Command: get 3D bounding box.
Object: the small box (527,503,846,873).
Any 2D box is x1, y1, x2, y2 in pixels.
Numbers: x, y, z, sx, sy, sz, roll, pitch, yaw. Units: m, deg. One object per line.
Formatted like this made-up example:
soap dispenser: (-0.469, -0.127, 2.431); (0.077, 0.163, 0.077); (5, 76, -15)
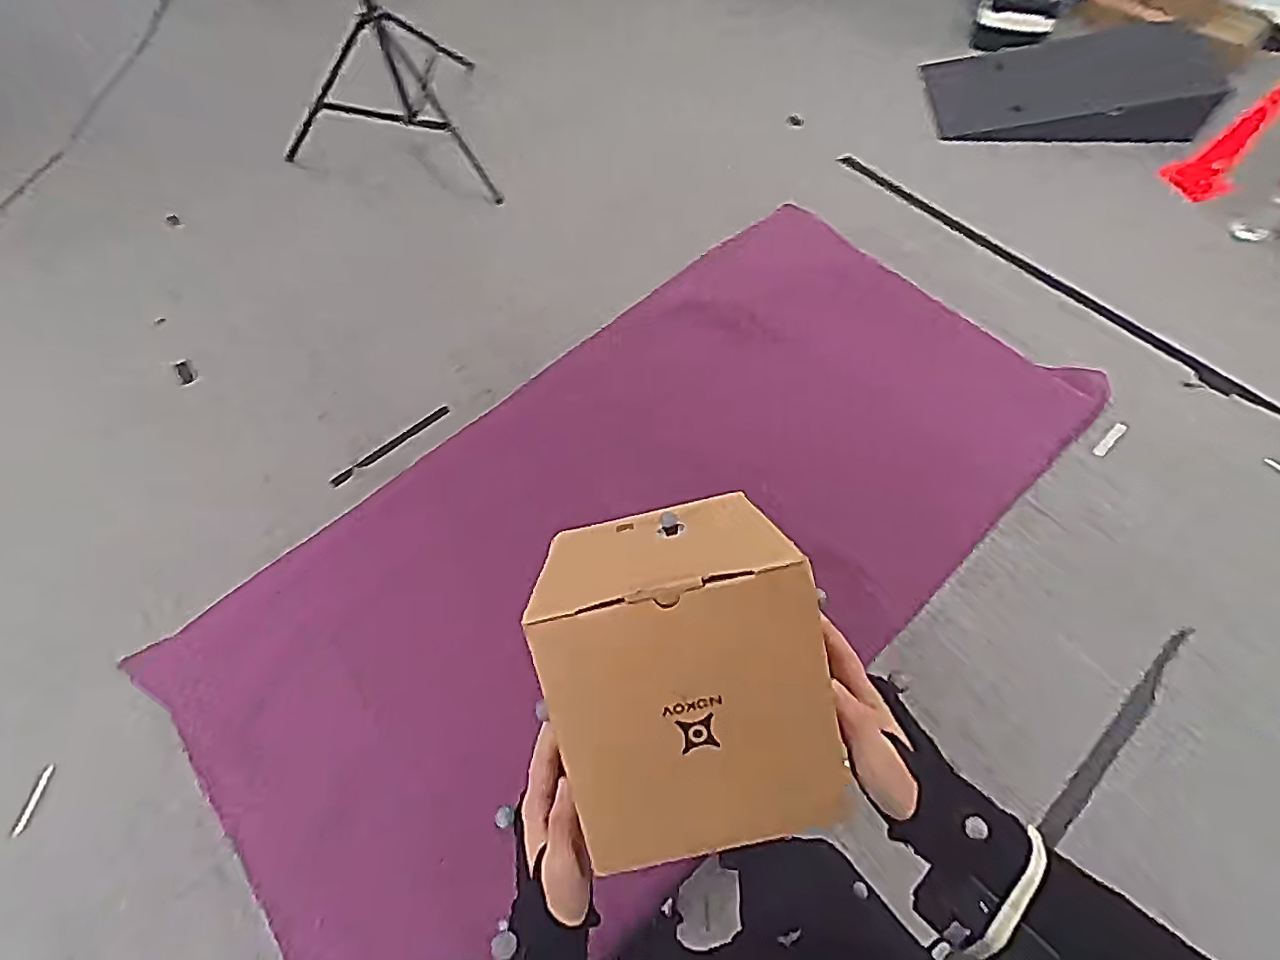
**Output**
small box: (0.031, 0.132, 0.399); (0.168, 0.176, 0.179); (-13, 101, 1)
